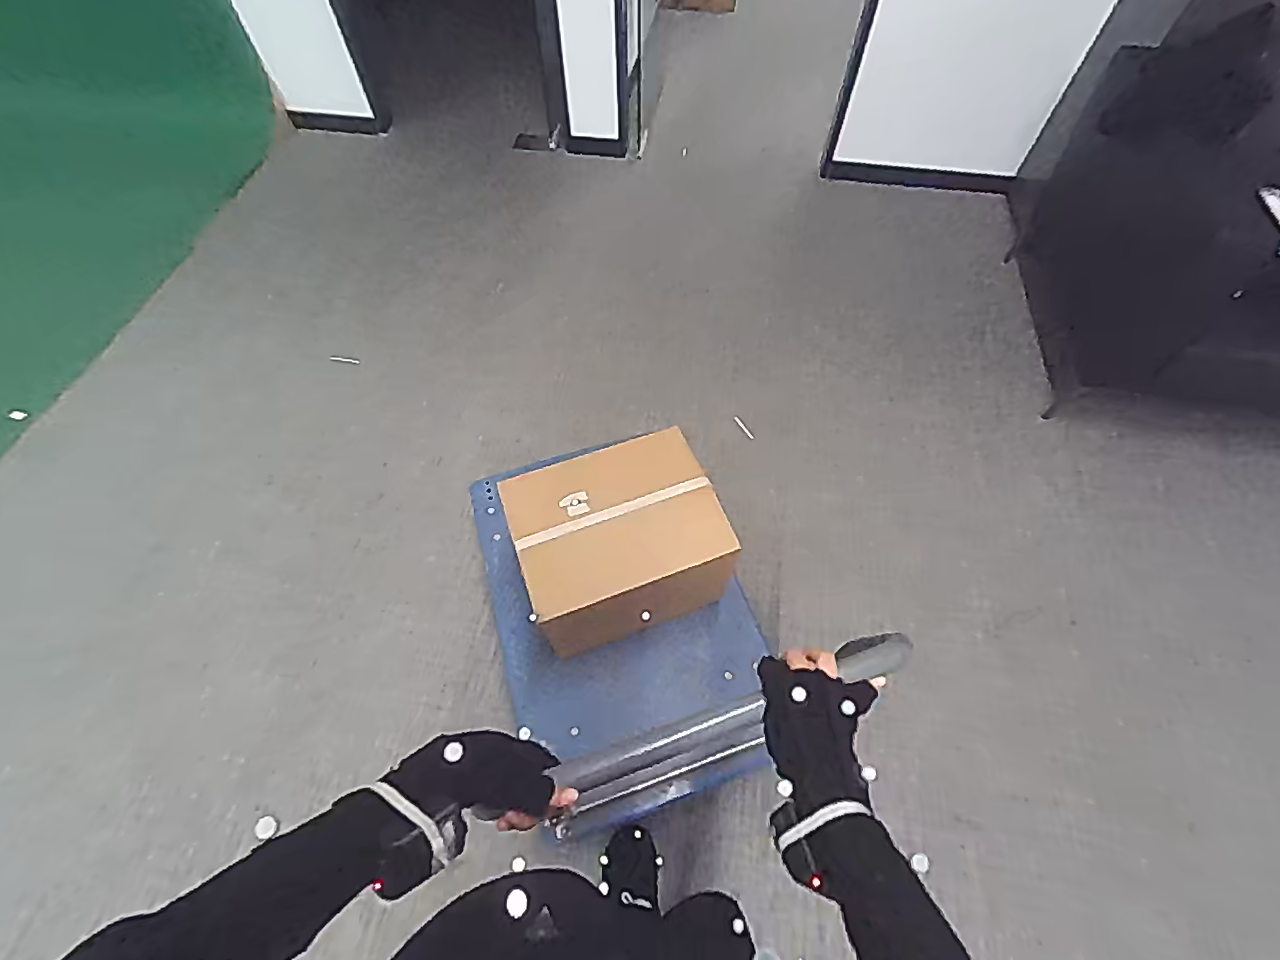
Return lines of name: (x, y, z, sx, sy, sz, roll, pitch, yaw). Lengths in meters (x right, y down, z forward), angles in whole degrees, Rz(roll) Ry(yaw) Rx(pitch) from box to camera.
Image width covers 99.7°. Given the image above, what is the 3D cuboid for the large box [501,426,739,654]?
large box: (-0.045, 0.141, 1.201, 0.408, 0.320, 0.320, -19, 61, -10)
